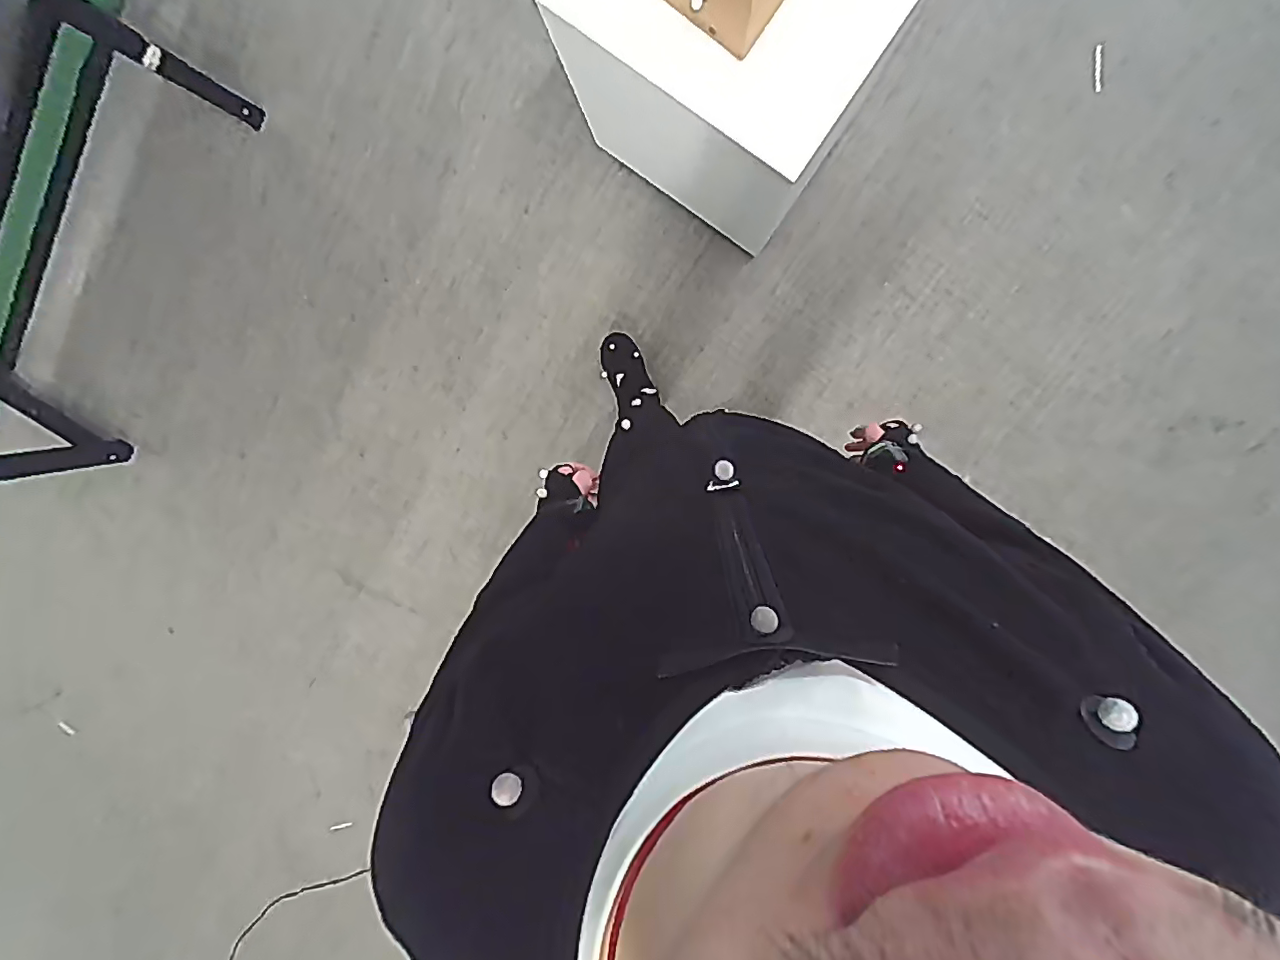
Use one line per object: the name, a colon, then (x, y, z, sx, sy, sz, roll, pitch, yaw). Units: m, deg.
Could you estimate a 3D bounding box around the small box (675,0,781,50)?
small box: (0.137, -0.756, 0.742, 0.168, 0.176, 0.179, 34, 101, -1)
